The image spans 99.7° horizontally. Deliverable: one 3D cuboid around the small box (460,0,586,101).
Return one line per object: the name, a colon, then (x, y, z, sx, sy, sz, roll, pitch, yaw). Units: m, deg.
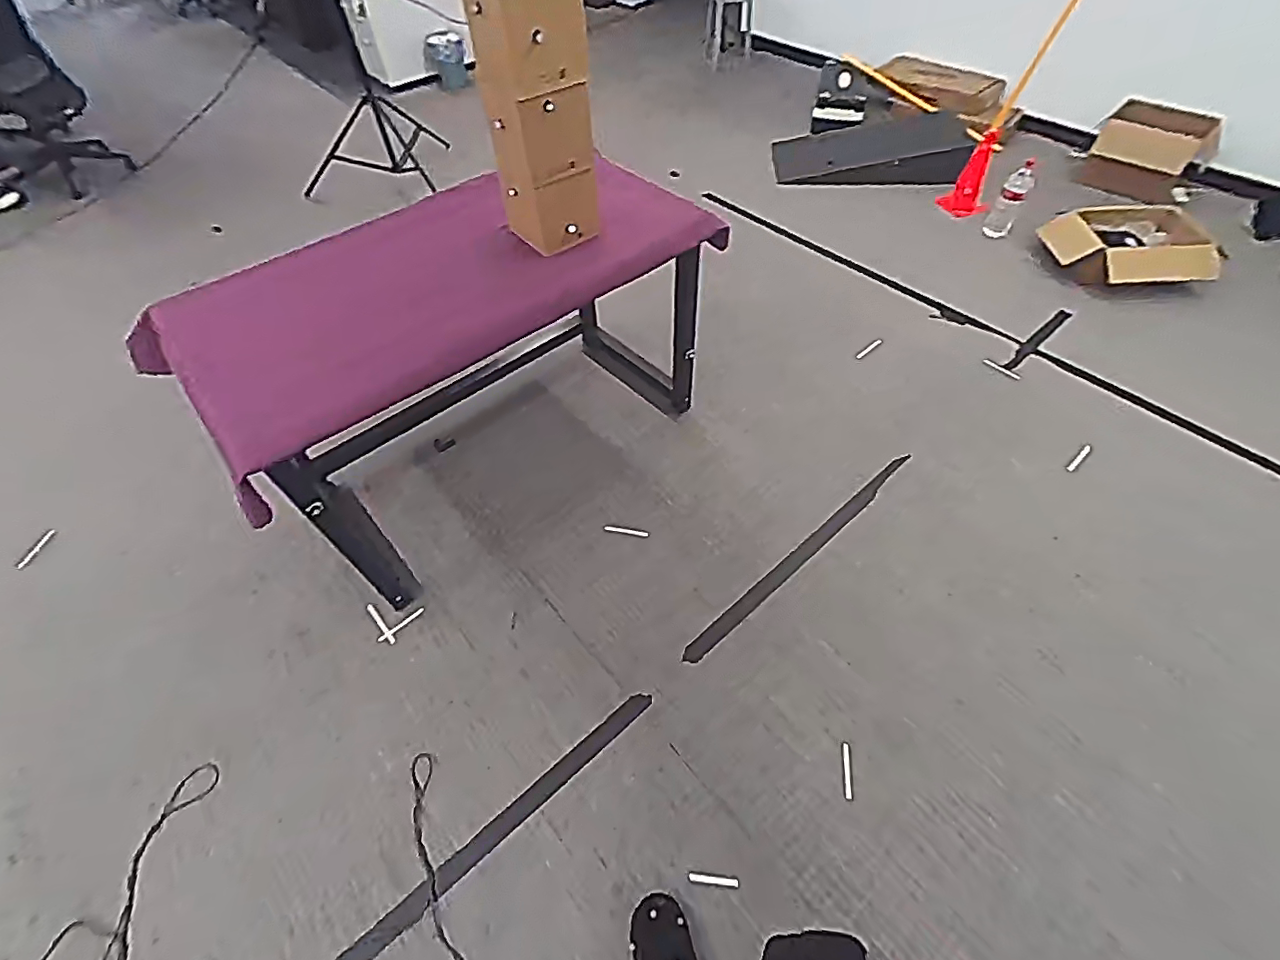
small box: (-0.221, -0.859, 1.042, 0.168, 0.176, 0.179, -32, 59, -19)

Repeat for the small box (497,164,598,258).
small box: (-0.220, -0.672, 1.311, 0.168, 0.176, 0.179, -34, 60, -20)

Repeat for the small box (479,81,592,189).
small box: (-0.221, -0.766, 1.177, 0.168, 0.176, 0.179, -32, 58, -19)
